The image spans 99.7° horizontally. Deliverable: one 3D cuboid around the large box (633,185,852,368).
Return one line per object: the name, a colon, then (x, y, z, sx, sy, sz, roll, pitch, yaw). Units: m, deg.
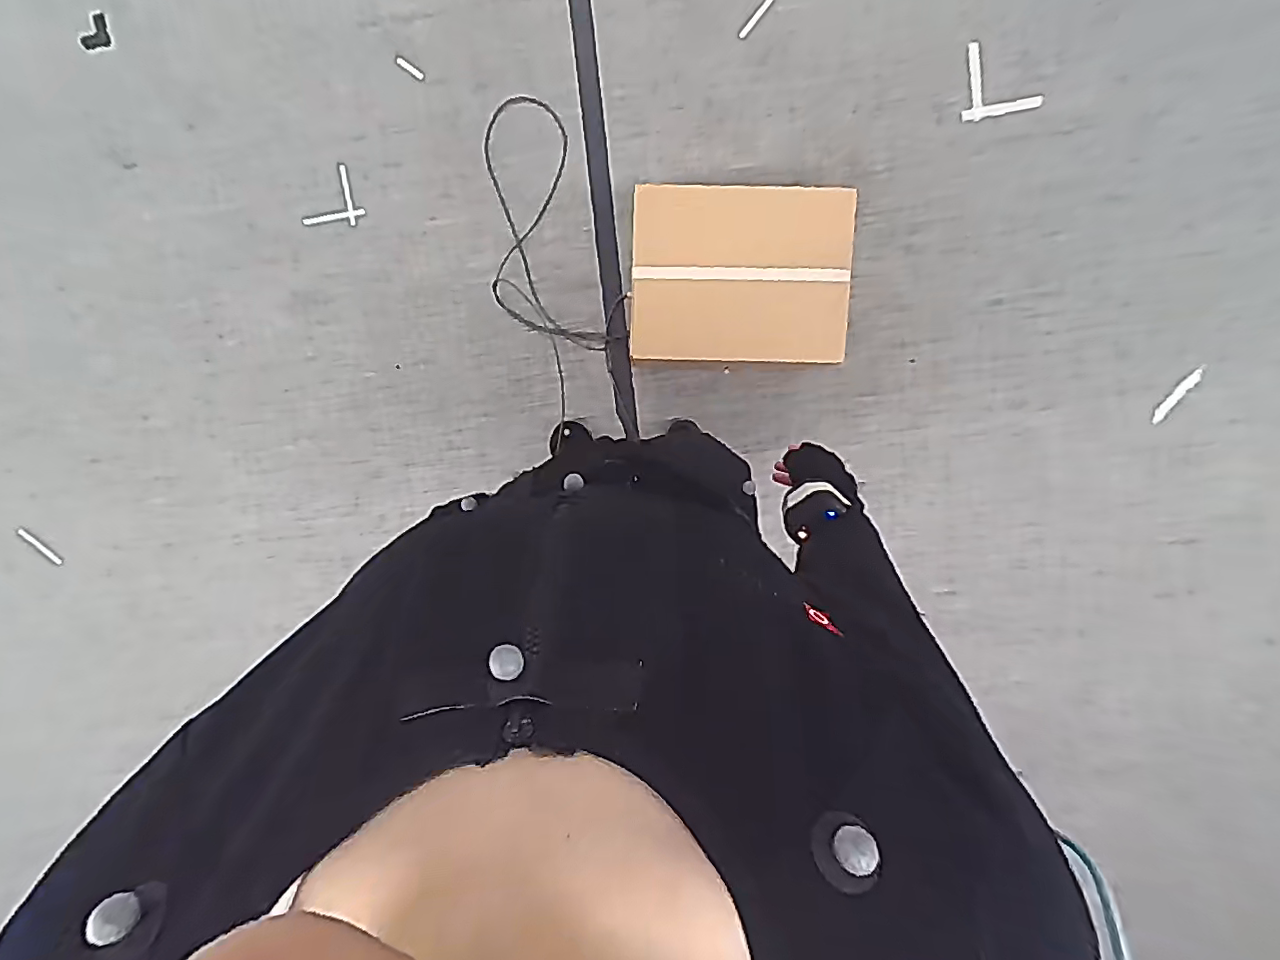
large box: (0.189, -0.407, 1.157, 0.408, 0.320, 0.320, 1, 99, 1)
